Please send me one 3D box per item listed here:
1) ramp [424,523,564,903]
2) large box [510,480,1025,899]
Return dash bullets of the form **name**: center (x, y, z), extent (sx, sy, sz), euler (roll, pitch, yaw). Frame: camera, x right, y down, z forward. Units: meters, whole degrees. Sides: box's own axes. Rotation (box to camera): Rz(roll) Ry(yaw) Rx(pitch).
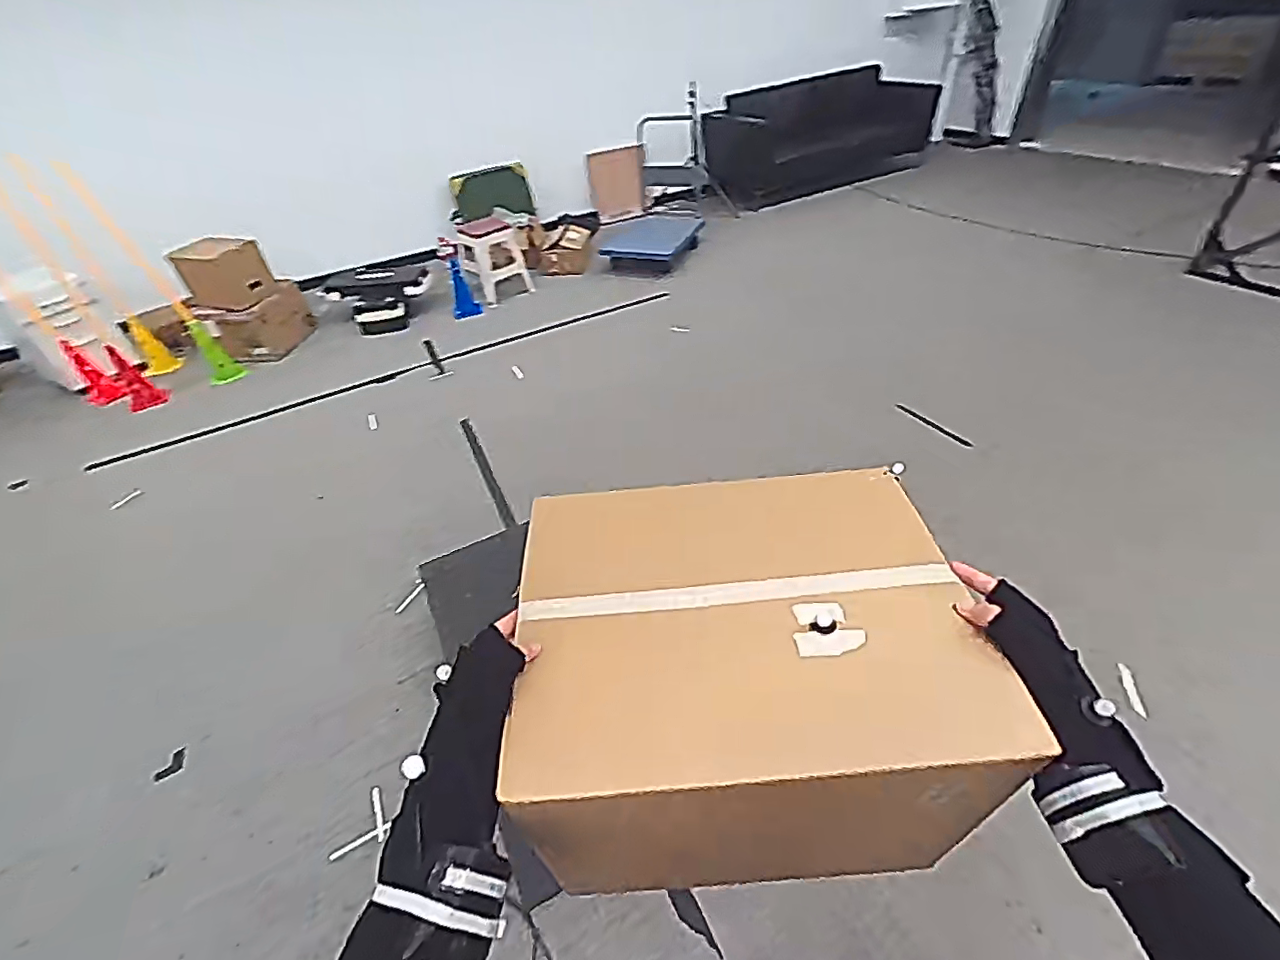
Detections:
- **ramp**: center (-0.266, 0.546, 1.581), extent (0.509, 0.206, 0.991), euler (-23, 44, -19)
- **large box**: center (0.095, 0.231, 0.613), extent (0.408, 0.320, 0.320), euler (-5, 42, 0)
